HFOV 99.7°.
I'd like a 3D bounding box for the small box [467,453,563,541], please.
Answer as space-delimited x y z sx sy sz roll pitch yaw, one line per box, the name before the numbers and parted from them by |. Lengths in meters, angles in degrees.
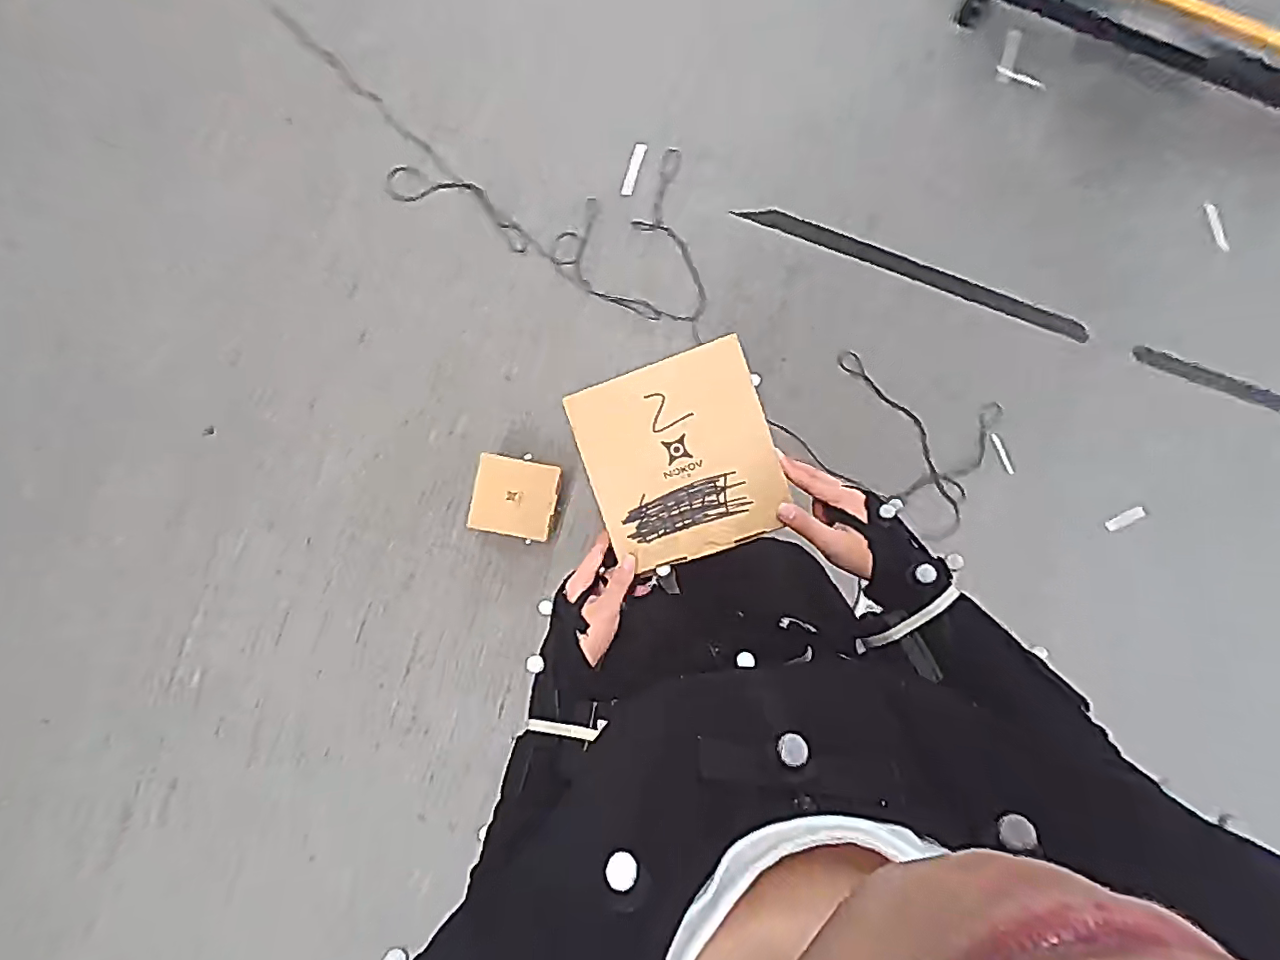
small box | -0.278 0.038 1.240 0.179 0.176 0.168 11 88 -6
